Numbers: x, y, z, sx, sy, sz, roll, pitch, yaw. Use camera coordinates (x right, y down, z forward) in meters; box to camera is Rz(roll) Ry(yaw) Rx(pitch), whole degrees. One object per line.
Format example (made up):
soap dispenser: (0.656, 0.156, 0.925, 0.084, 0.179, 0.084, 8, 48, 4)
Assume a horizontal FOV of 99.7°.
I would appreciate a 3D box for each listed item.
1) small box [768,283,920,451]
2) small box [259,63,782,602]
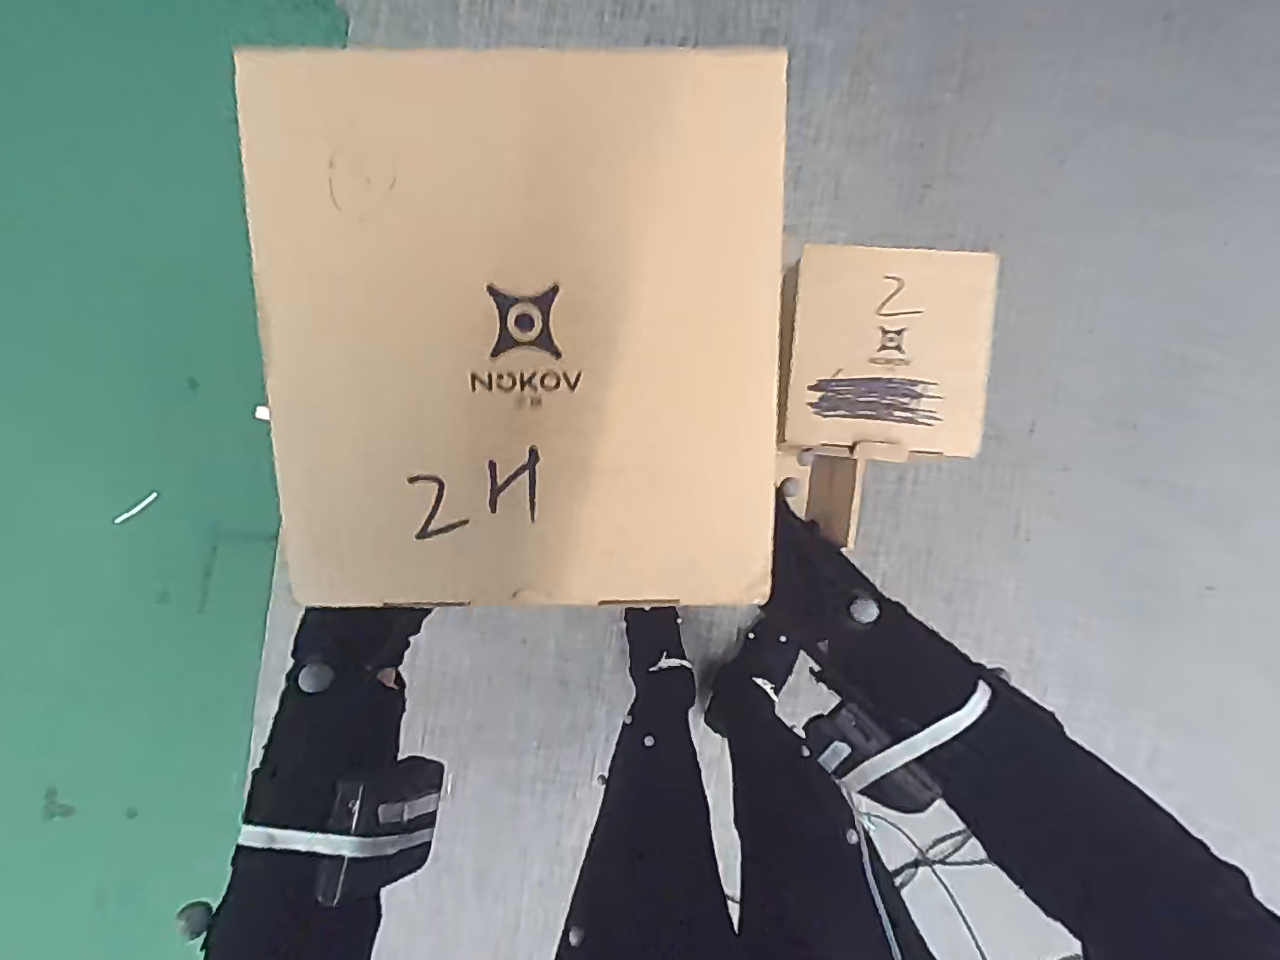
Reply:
small box: (0.232, -0.134, 0.701, 0.168, 0.176, 0.179, 8, 92, 3)
small box: (-0.038, -0.054, 0.259, 0.168, 0.176, 0.179, 0, 99, -1)
